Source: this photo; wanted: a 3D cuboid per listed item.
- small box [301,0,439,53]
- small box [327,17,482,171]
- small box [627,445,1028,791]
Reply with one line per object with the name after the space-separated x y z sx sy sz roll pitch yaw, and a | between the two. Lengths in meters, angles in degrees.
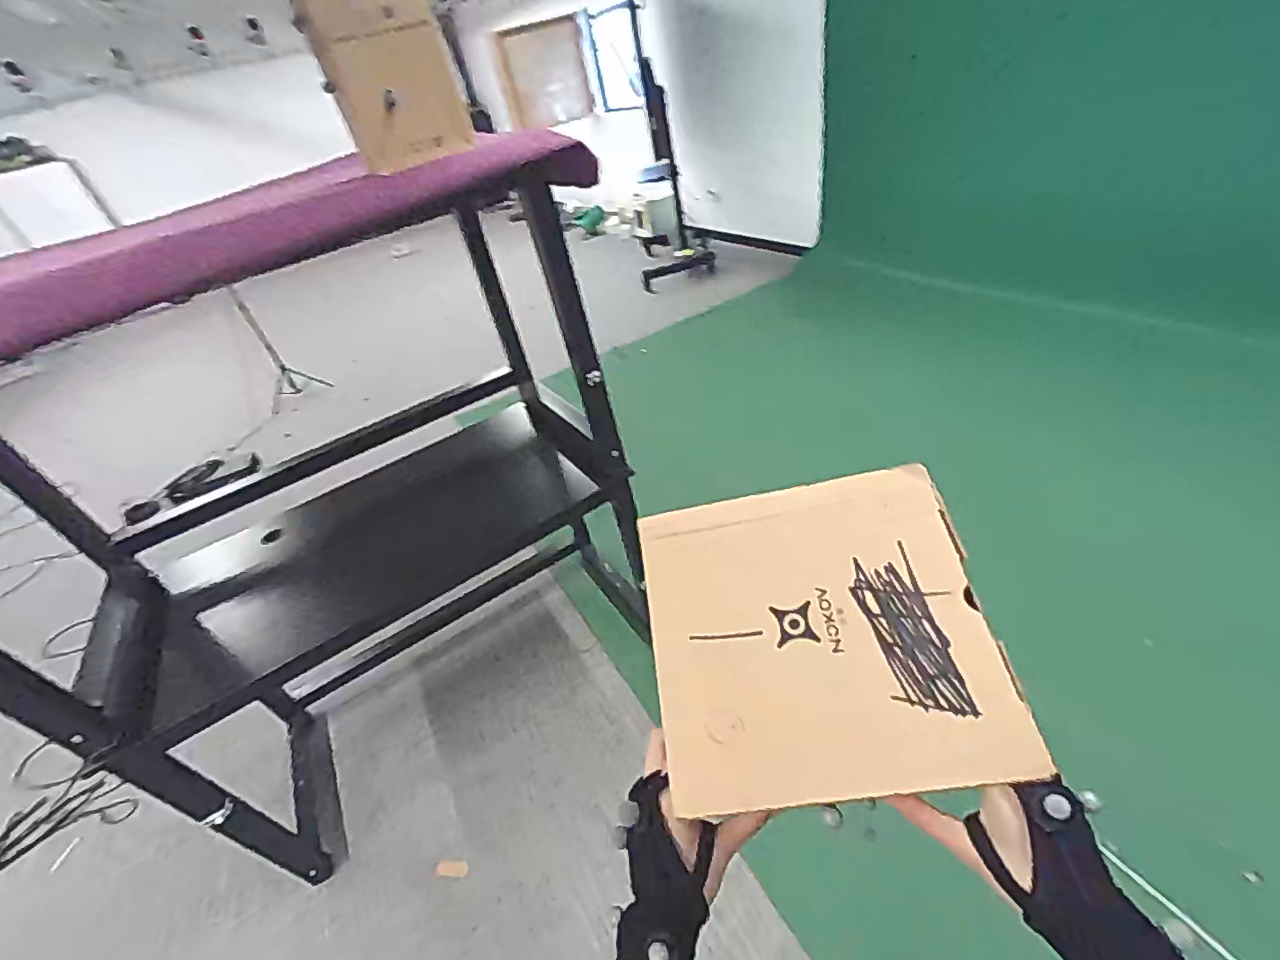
-0.417 -0.748 0.788 0.168 0.176 0.179 -28 40 -17 | small box
-0.382 -0.622 0.888 0.168 0.176 0.179 -28 39 -17 | small box
0.099 0.102 0.358 0.179 0.176 0.168 -11 59 8 | small box
